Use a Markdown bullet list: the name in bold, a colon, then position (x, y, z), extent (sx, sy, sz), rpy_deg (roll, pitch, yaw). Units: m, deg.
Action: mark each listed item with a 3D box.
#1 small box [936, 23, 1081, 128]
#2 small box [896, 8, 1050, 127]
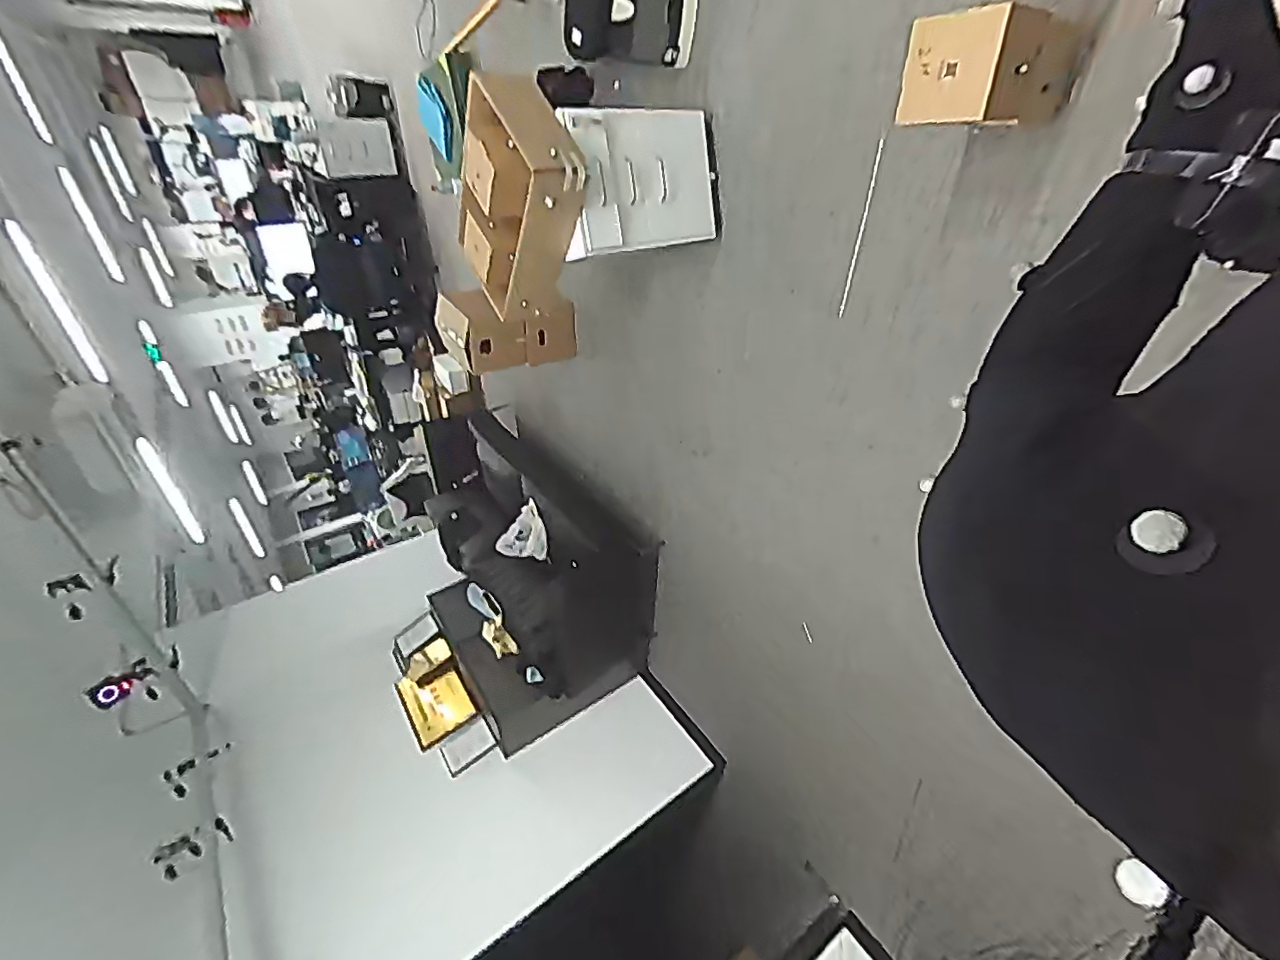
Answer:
- **small box**: position (0.762, -0.832, 1.123), extent (0.179, 0.176, 0.168), rpy_deg (37, 139, 43)
- **small box**: position (0.633, -0.778, 1.034), extent (0.179, 0.176, 0.168), rpy_deg (36, 138, 44)
